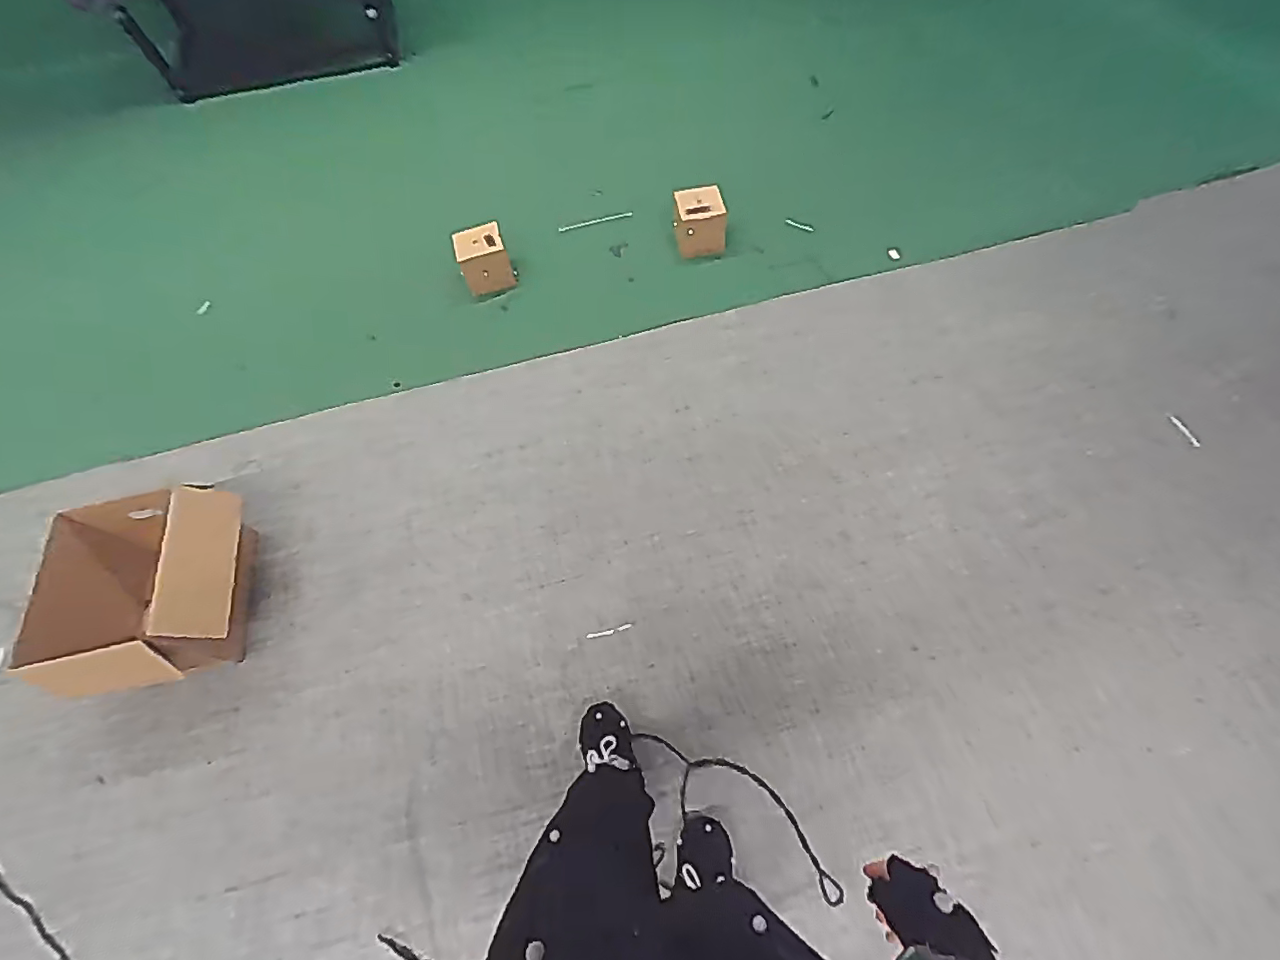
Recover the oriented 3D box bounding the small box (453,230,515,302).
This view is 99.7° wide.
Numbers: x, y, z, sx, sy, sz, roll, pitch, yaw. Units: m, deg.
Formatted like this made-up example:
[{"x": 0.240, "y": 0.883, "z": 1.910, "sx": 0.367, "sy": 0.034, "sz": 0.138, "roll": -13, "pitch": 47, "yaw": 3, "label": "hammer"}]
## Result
[{"x": -0.586, "y": -0.808, "z": 2.051, "sx": 0.179, "sy": 0.176, "sz": 0.168, "roll": -17, "pitch": 61, "yaw": -3, "label": "small box"}]
